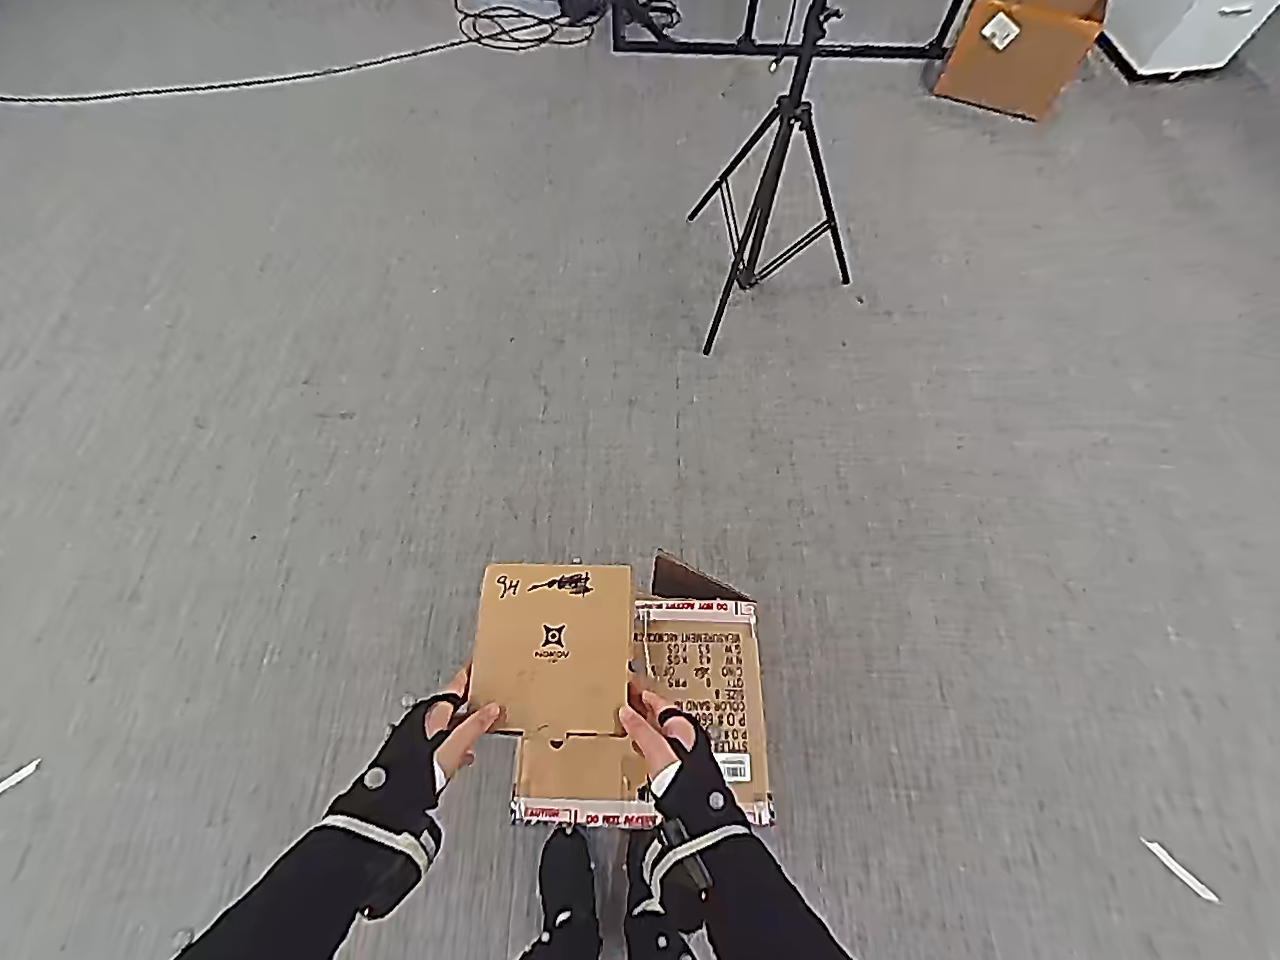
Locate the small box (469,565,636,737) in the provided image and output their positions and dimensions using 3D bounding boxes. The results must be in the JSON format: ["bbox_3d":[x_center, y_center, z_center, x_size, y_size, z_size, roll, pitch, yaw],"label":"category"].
[{"bbox_3d":[-0.090,0.207,0.651,0.168,0.176,0.179,0,68,1],"label":"small box"}]
